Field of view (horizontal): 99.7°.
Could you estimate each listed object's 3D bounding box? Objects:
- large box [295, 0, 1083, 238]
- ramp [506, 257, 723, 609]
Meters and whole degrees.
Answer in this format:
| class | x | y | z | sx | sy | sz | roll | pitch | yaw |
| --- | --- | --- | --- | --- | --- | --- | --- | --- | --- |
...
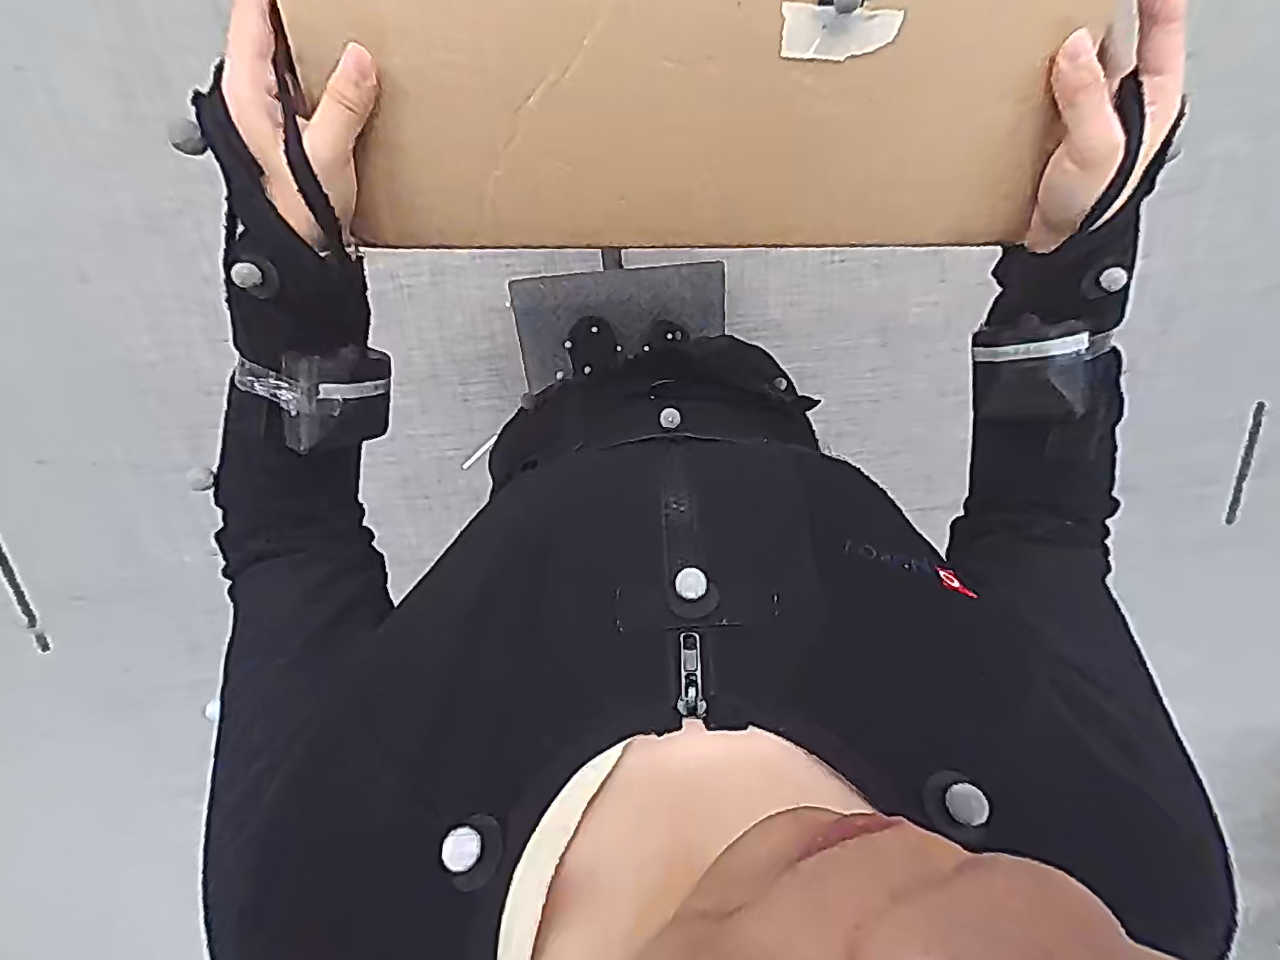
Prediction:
| class | x | y | z | sx | sy | sz | roll | pitch | yaw |
| --- | --- | --- | --- | --- | --- | --- | --- | --- | --- |
| large box | 0.020 | -0.362 | 0.369 | 0.408 | 0.320 | 0.320 | -2 | 124 | -2 |
| ramp | -0.018 | -0.050 | 1.452 | 0.509 | 0.206 | 0.991 | -7 | 110 | -1 |
